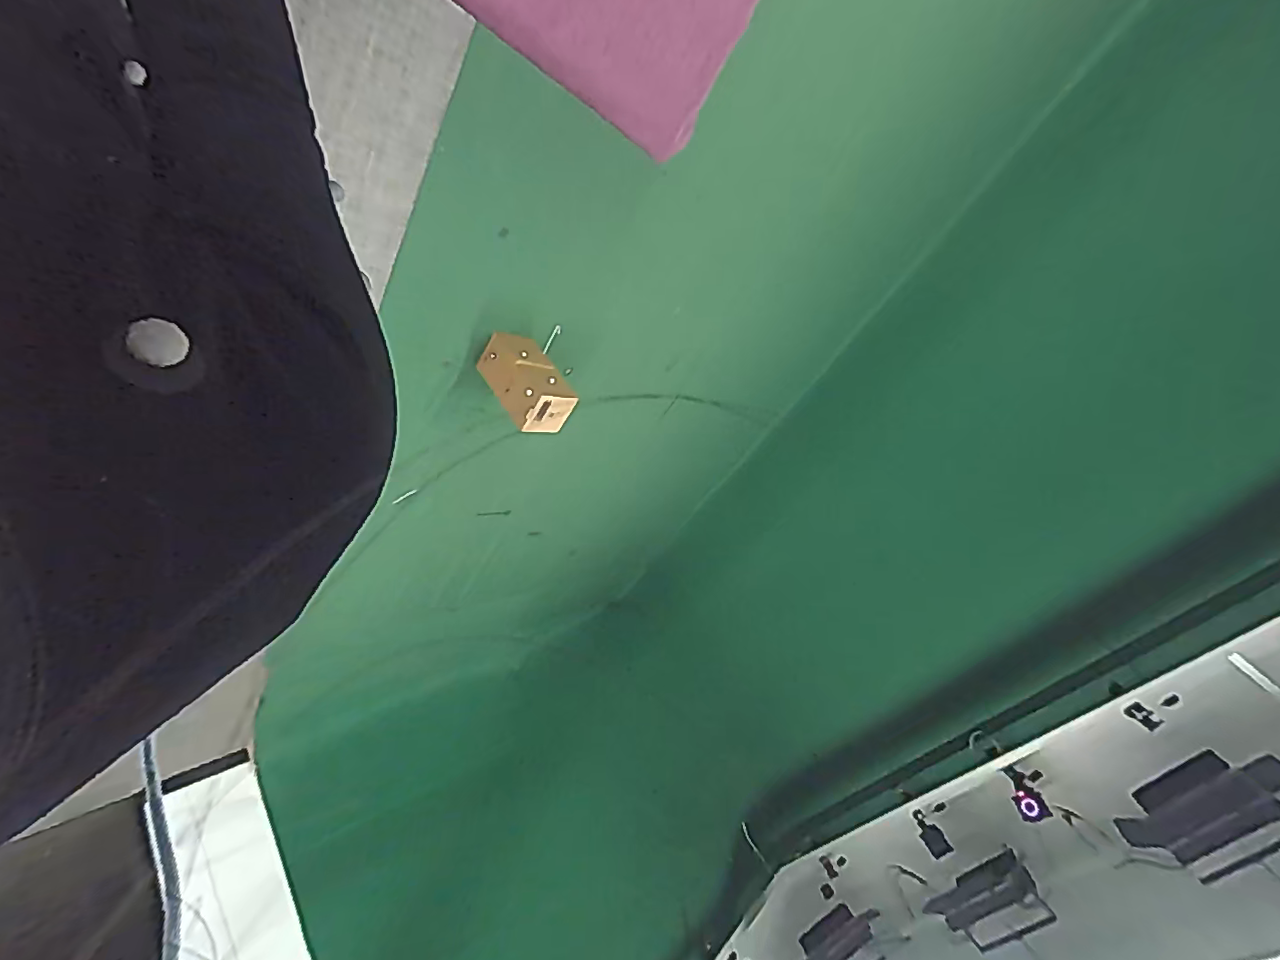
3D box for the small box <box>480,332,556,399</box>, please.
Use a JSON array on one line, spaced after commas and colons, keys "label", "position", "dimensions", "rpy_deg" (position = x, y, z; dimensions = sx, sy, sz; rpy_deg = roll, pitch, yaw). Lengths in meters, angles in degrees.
[{"label": "small box", "position": [-0.446, -0.415, 1.963], "dimensions": [0.179, 0.176, 0.168], "rpy_deg": [-3, 138, -52]}]
